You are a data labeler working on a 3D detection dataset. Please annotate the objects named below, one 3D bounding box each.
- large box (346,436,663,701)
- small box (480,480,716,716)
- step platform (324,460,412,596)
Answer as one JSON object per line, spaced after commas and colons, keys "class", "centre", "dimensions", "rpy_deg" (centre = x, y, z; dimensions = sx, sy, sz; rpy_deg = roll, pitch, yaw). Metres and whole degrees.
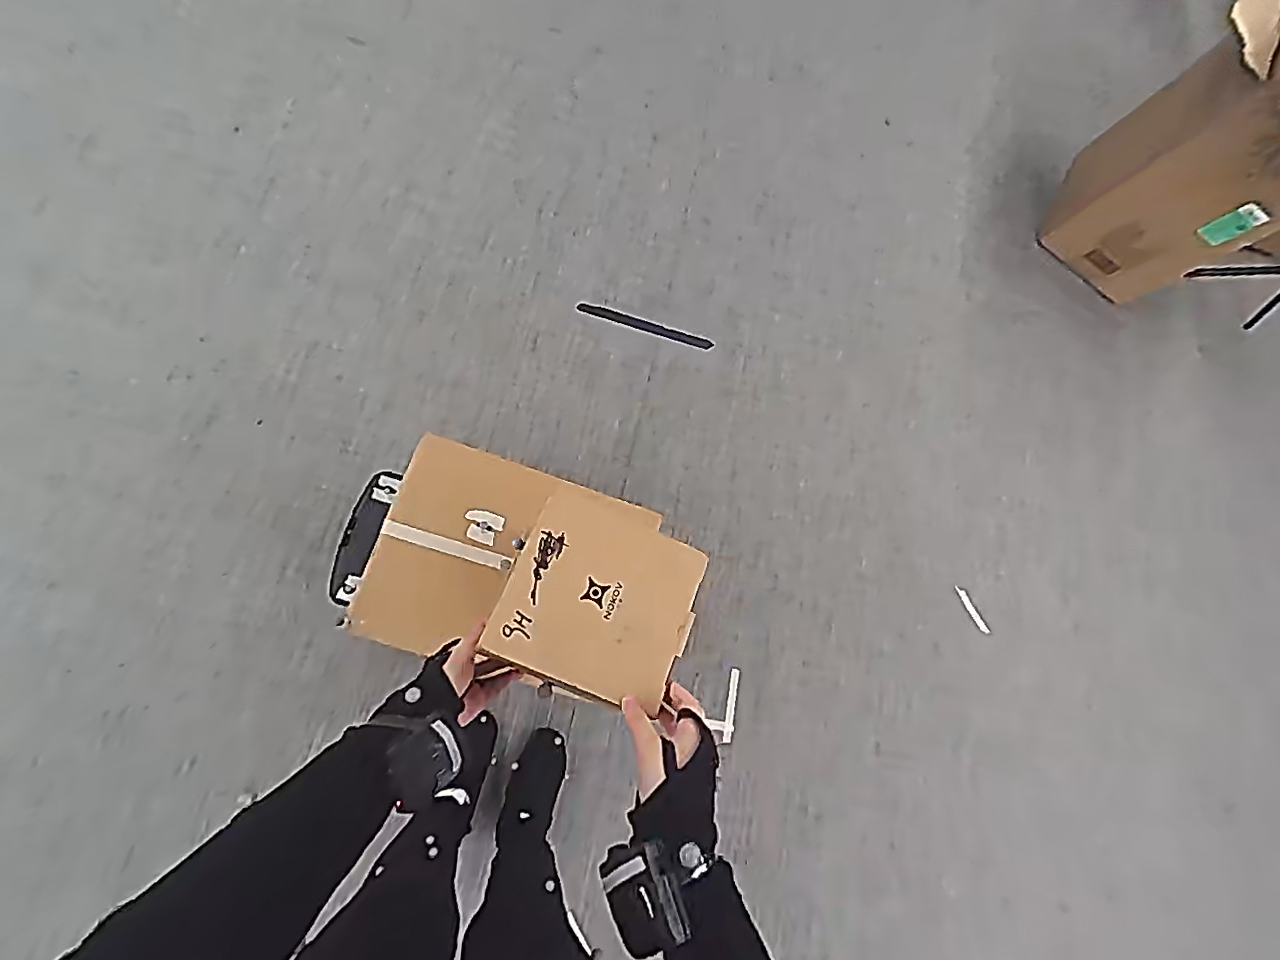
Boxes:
{"class": "large box", "centre": [-0.216, 0.162, 0.964], "dimensions": [0.408, 0.320, 0.320], "rpy_deg": [19, 74, -8]}
{"class": "small box", "centre": [-0.052, 0.128, 0.572], "dimensions": [0.179, 0.176, 0.168], "rpy_deg": [27, 66, -8]}
{"class": "step platform", "centre": [-0.295, 0.205, 1.185], "dimensions": [0.684, 0.204, 0.286], "rpy_deg": [21, 74, -7]}
